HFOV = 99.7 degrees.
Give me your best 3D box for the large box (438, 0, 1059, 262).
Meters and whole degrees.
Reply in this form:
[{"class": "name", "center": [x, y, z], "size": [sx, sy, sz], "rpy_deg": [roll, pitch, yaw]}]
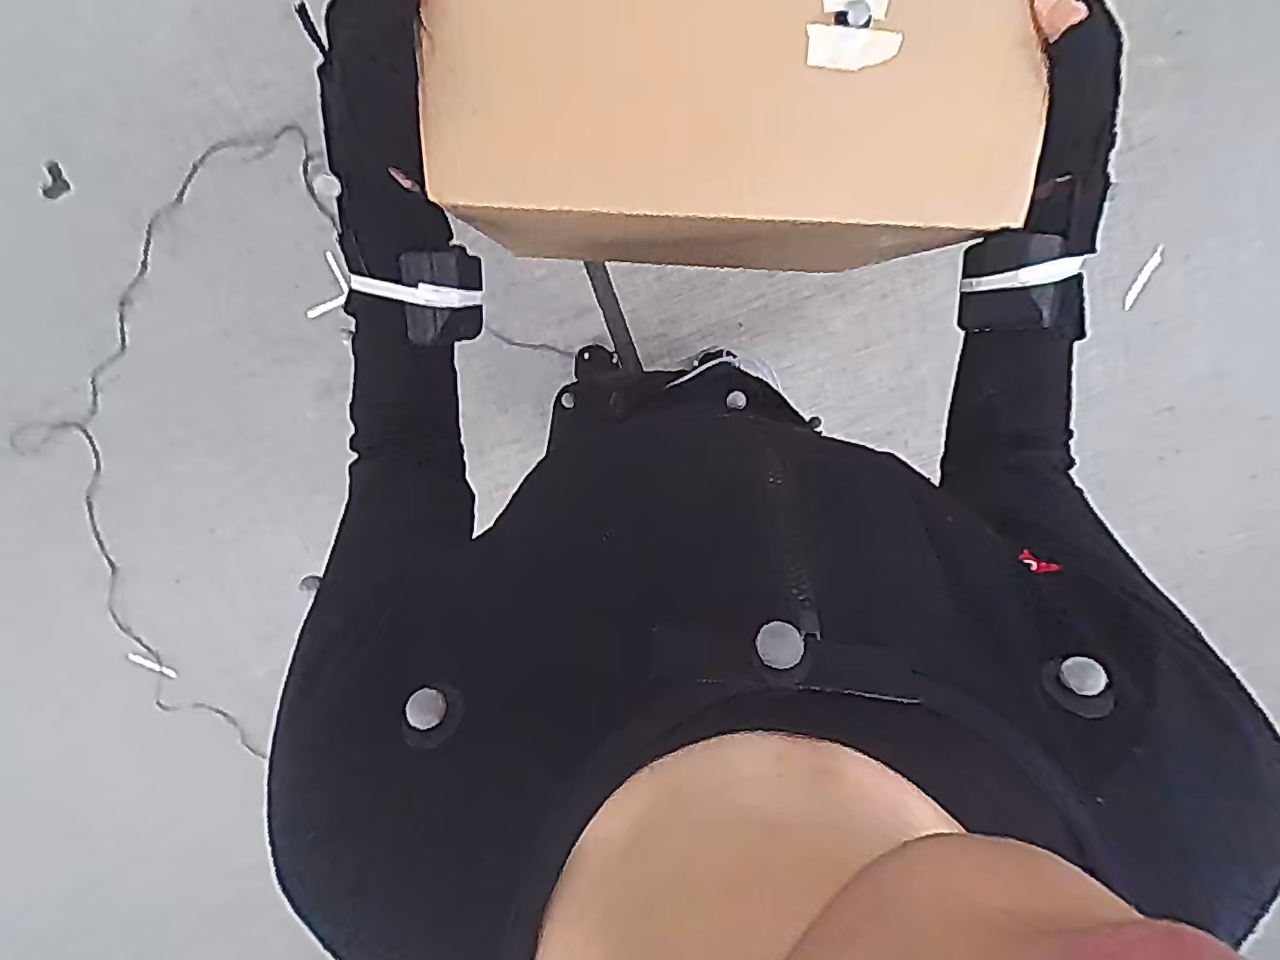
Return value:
[{"class": "large box", "center": [0.065, -0.376, 0.475], "size": [0.408, 0.320, 0.320], "rpy_deg": [2, 107, -4]}]
